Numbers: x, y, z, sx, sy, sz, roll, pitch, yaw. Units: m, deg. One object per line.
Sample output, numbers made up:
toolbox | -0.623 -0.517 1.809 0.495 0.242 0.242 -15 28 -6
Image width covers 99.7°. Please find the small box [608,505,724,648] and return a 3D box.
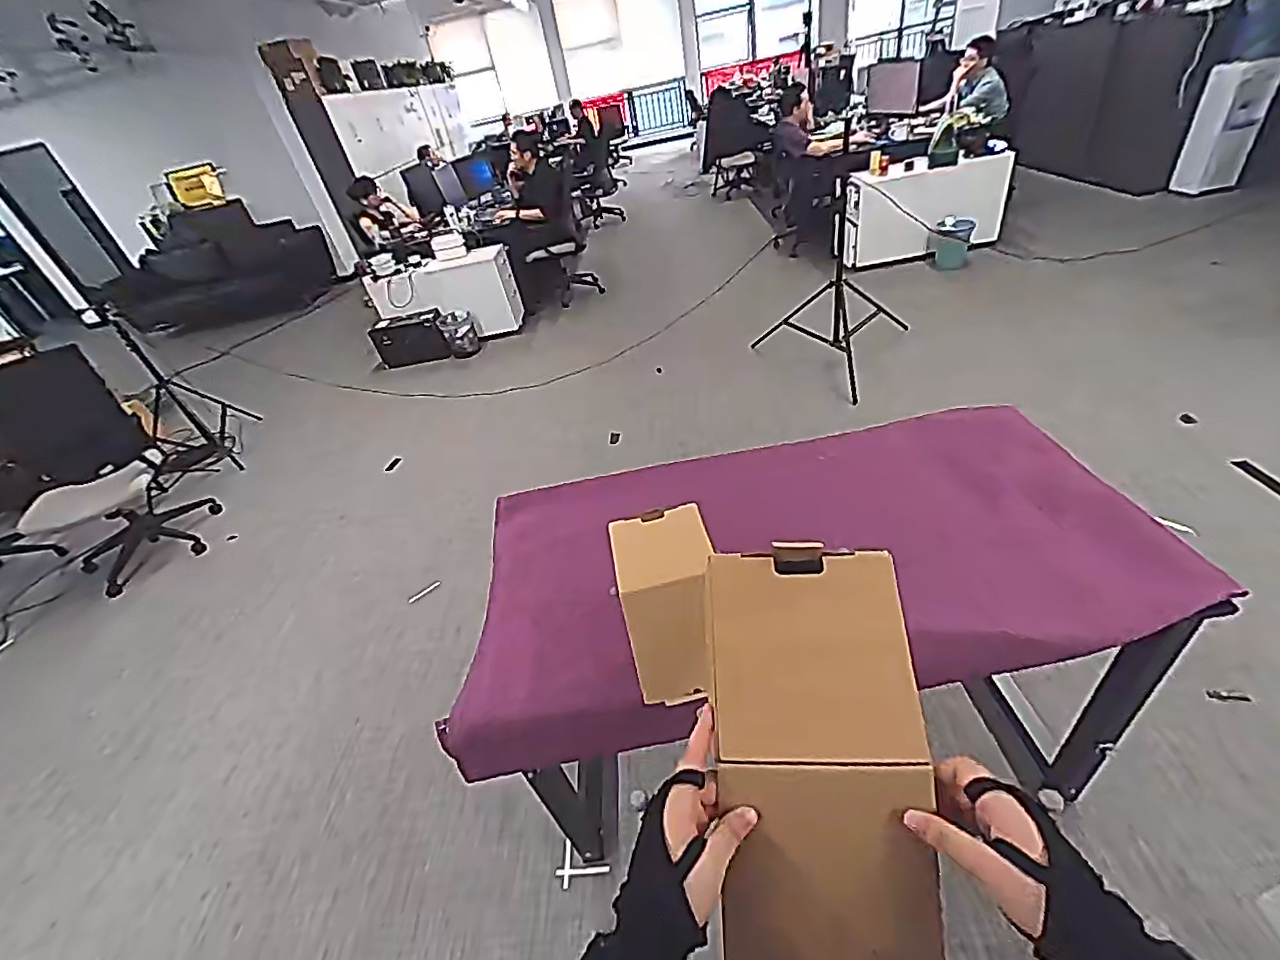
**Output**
small box | 0.046 0.176 0.961 0.168 0.176 0.179 -13 35 -1
